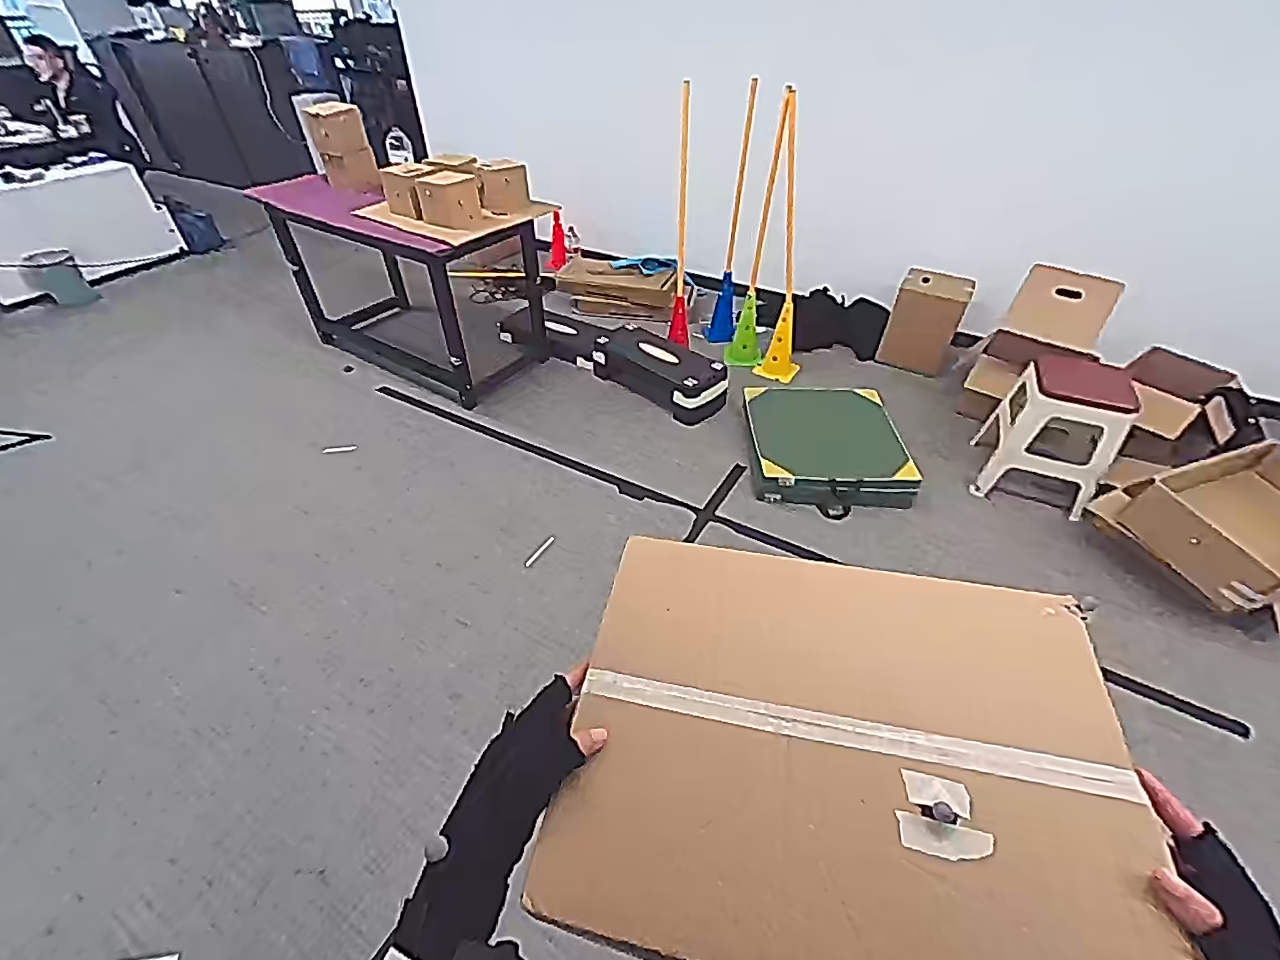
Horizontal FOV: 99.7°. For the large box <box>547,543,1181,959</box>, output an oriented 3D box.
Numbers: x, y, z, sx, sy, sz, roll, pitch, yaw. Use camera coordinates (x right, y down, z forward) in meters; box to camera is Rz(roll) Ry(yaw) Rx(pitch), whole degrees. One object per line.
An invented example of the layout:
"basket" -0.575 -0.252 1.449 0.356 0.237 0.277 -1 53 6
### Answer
"large box" 0.167 0.299 0.540 0.408 0.320 0.320 7 49 12
